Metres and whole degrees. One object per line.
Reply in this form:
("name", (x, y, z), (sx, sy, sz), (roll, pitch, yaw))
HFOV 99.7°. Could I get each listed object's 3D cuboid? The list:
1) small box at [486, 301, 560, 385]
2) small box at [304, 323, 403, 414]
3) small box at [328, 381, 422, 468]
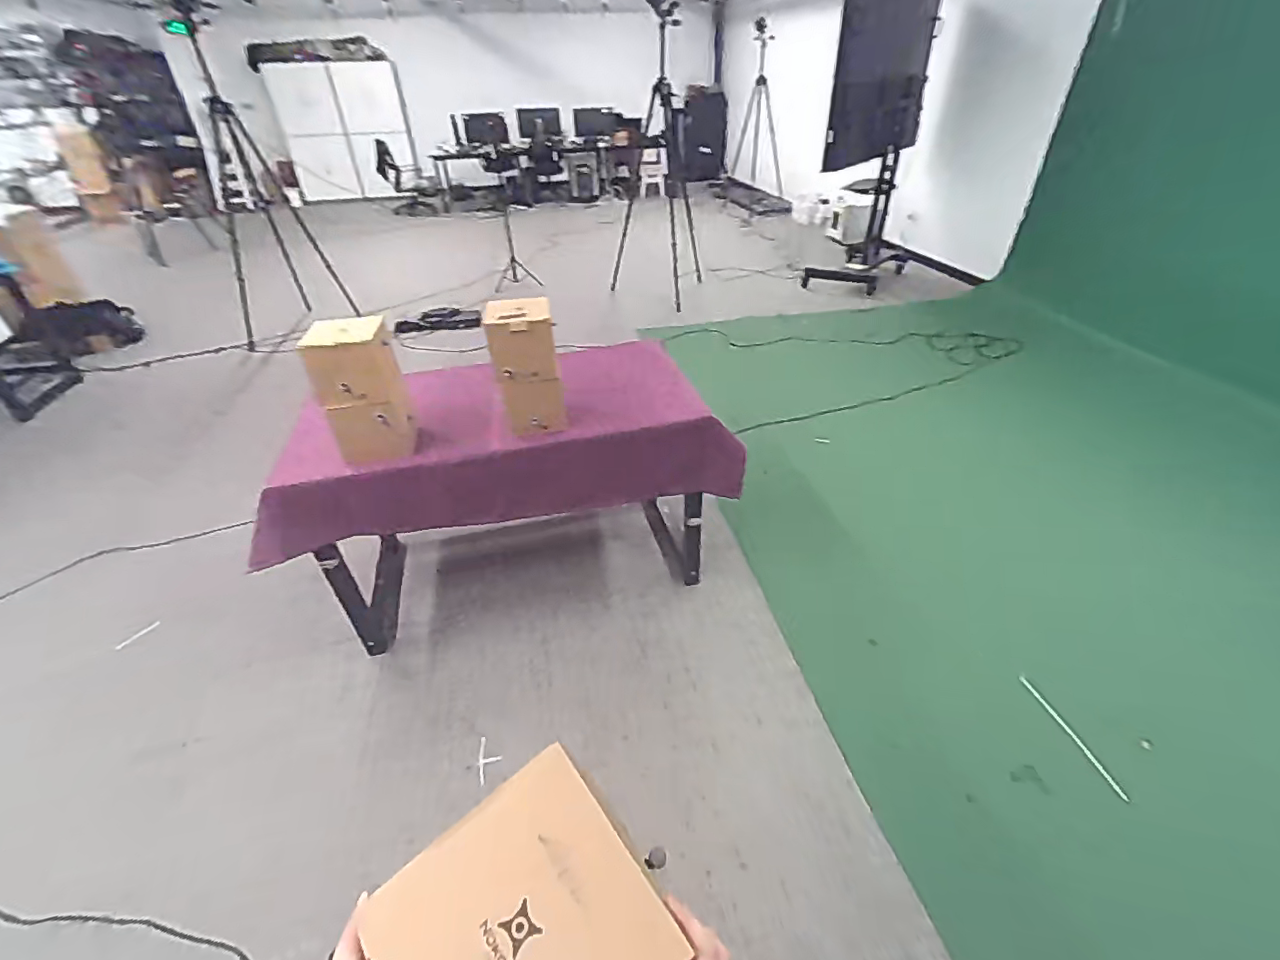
("small box", (-0.310, -0.366, 1.460), (0.168, 0.176, 0.179), (-7, 36, -6))
("small box", (-0.721, -0.287, 1.386), (0.168, 0.176, 0.179), (-8, 37, -8))
("small box", (-0.711, -0.150, 1.474), (0.179, 0.176, 0.168), (-9, 36, -8))
